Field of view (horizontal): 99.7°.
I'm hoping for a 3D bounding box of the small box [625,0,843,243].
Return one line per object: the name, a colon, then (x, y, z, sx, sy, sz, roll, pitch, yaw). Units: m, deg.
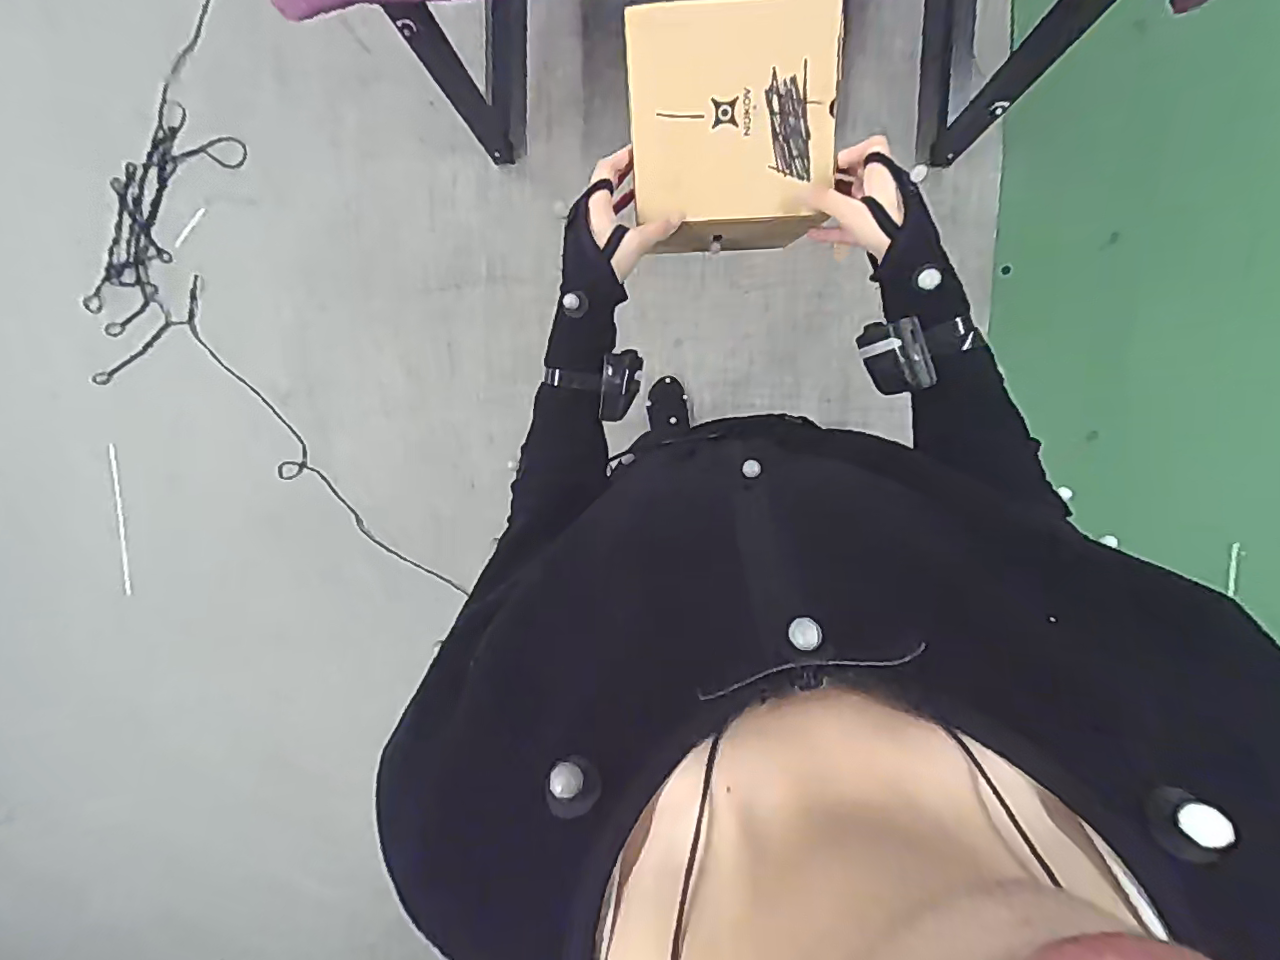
small box: (0.077, -0.334, 0.523, 0.179, 0.176, 0.168, -2, 104, 2)
